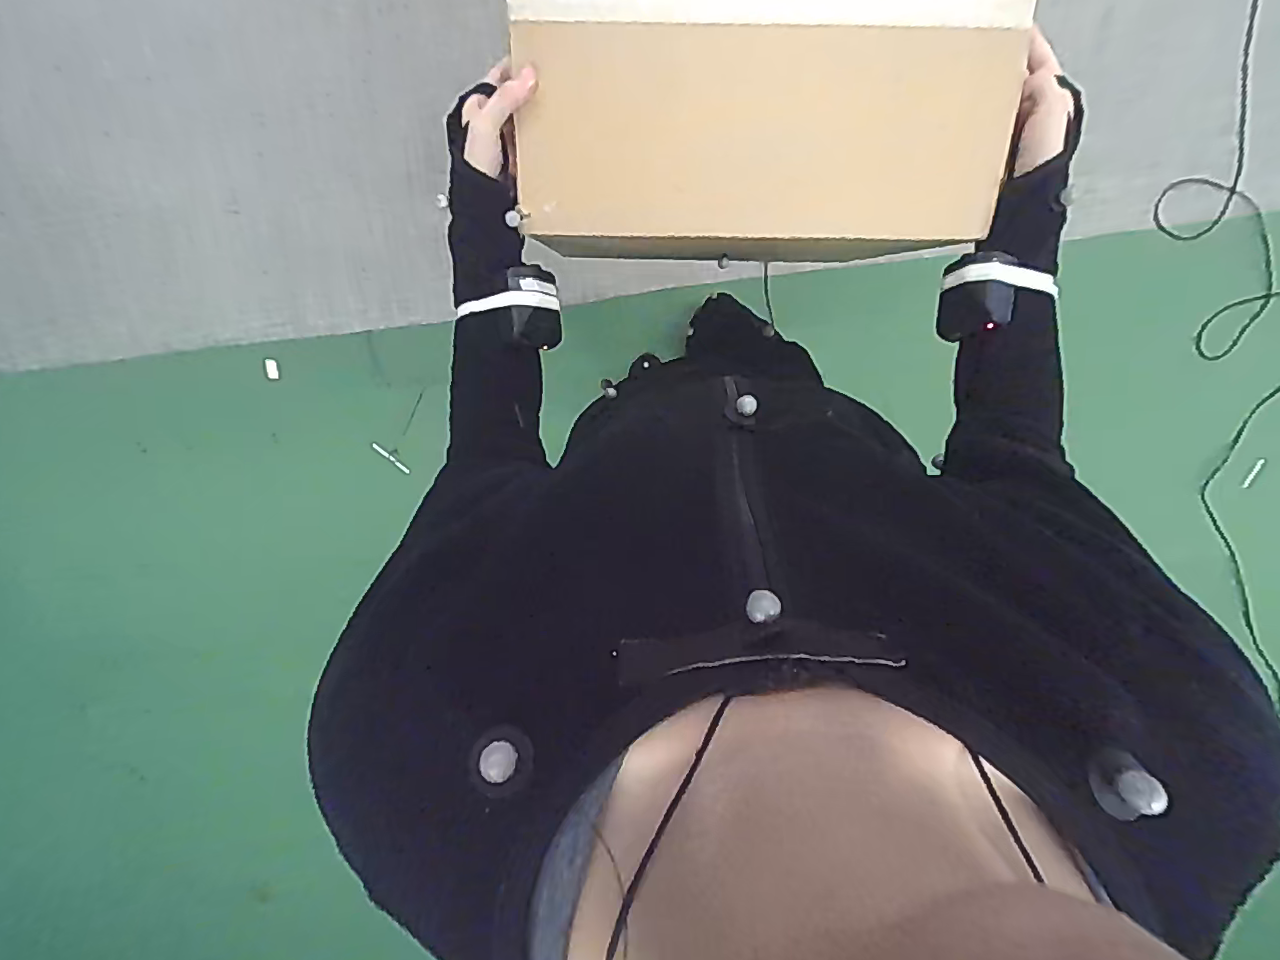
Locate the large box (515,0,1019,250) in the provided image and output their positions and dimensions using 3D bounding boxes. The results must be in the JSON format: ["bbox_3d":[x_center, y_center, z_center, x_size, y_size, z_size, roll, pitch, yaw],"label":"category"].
[{"bbox_3d":[0.101,-0.417,0.568,0.408,0.320,0.320,0,109,0],"label":"large box"}]
